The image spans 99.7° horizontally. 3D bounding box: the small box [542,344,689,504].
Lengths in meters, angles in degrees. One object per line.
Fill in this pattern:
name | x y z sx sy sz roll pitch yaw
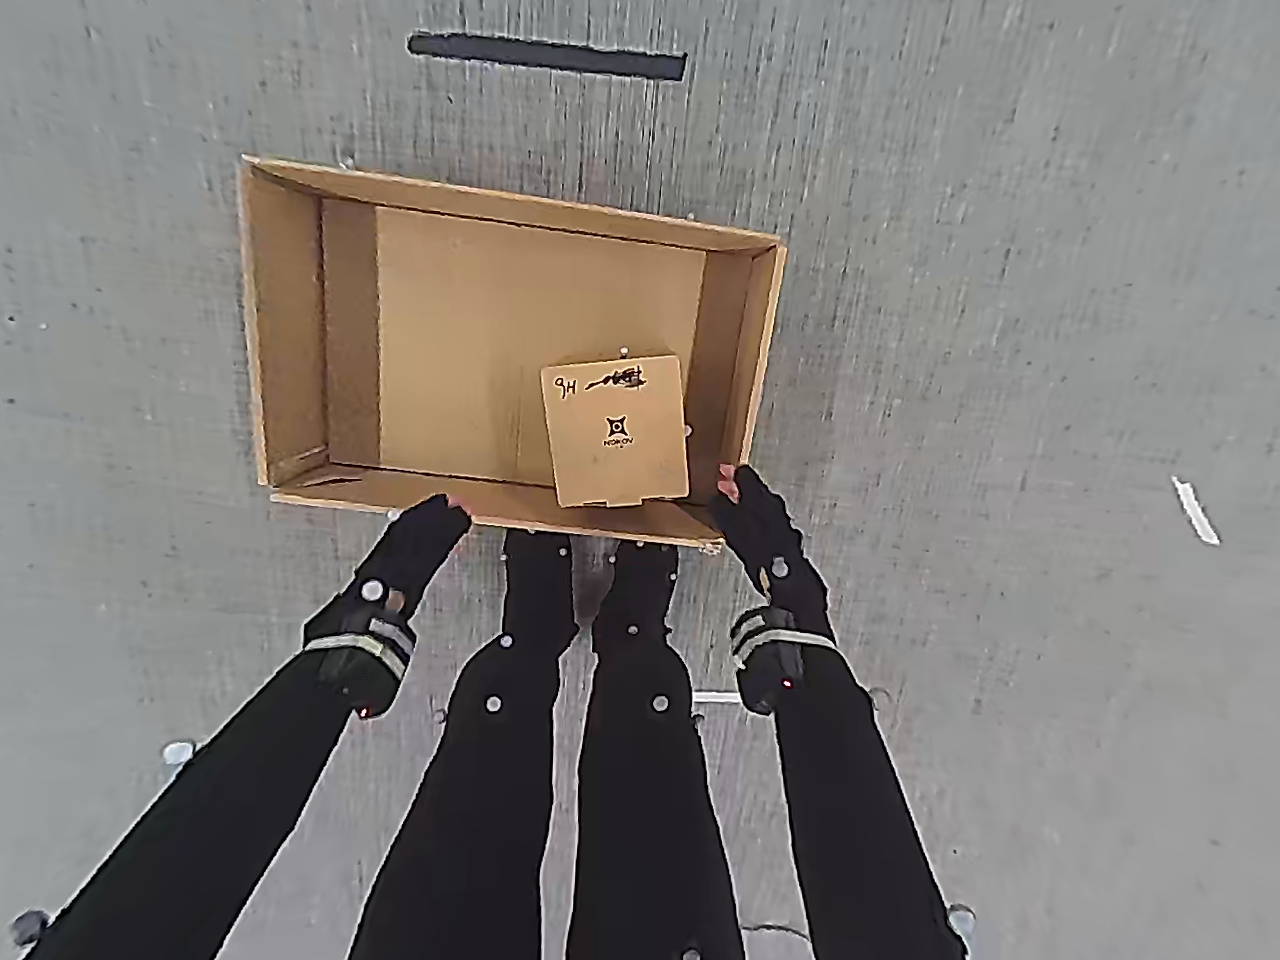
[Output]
small box | -0.026 -0.082 0.721 0.168 0.176 0.179 -5 106 1
